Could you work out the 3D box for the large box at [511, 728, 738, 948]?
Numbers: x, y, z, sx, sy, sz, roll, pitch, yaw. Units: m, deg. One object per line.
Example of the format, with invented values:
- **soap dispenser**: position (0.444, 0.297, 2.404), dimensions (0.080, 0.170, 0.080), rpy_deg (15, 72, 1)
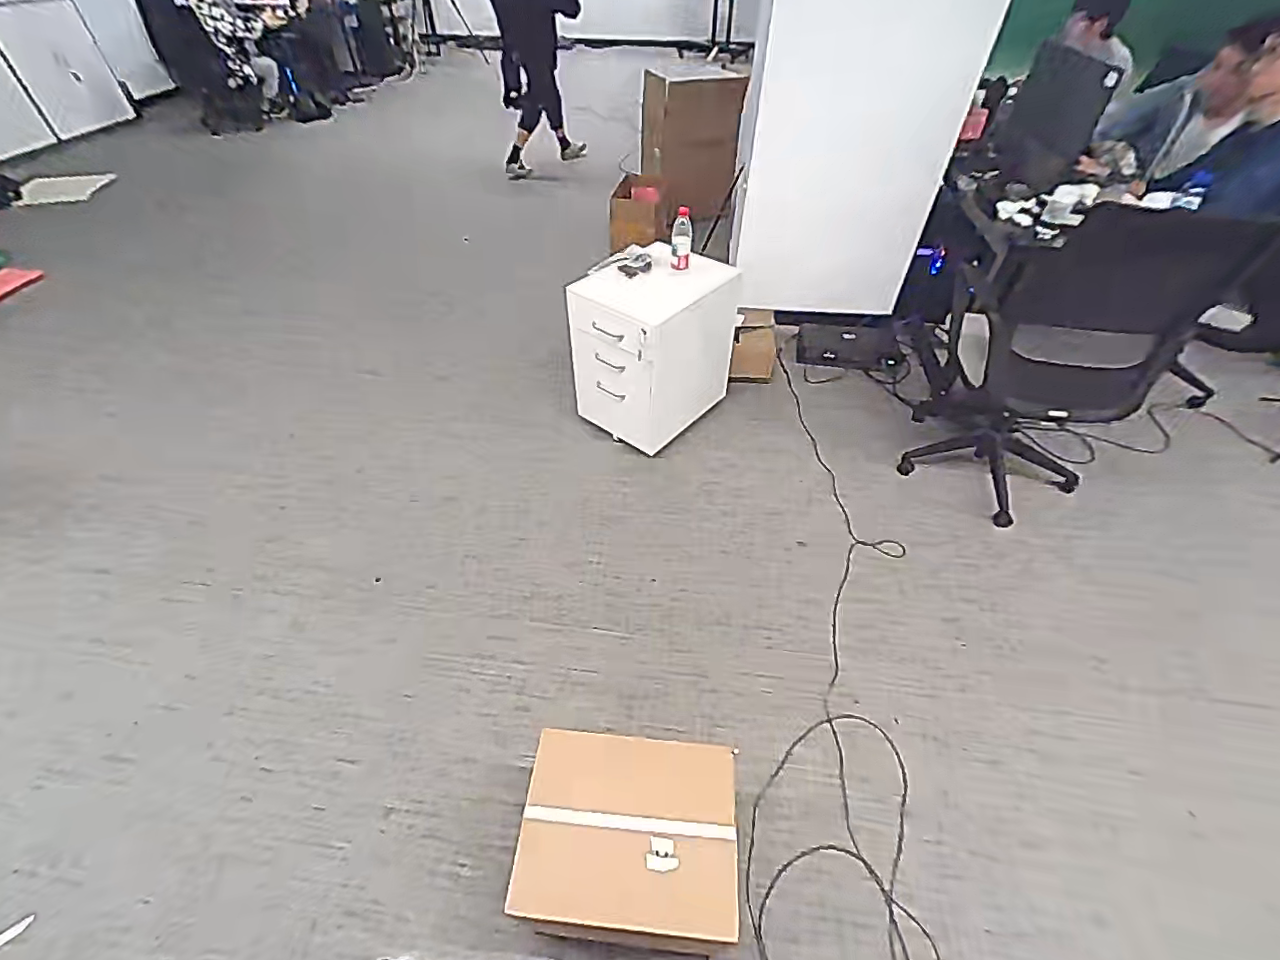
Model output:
- **large box**: position (-0.022, 0.752, 1.137), dimensions (0.408, 0.320, 0.320), rpy_deg (5, 46, 3)
